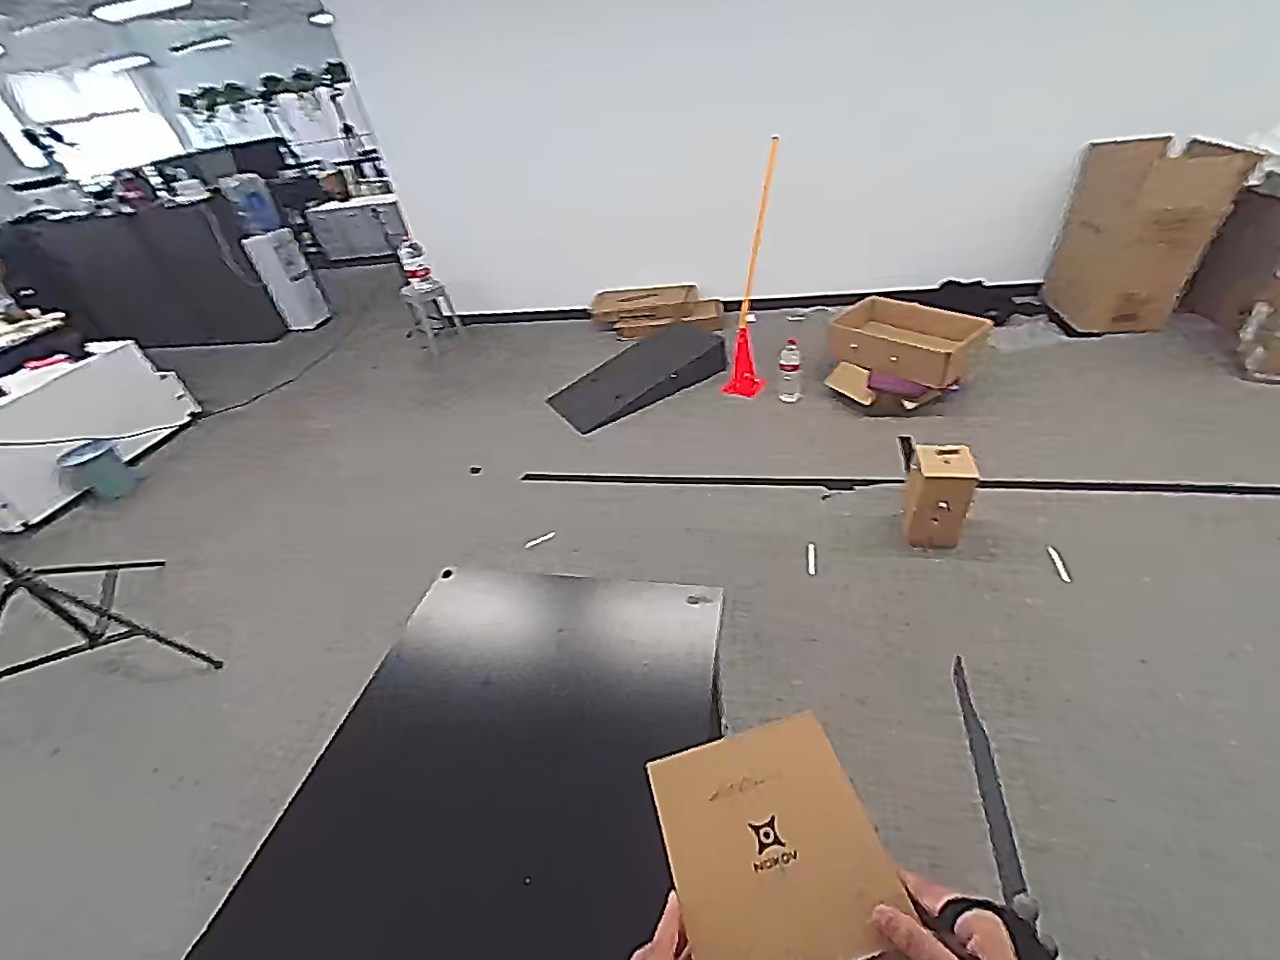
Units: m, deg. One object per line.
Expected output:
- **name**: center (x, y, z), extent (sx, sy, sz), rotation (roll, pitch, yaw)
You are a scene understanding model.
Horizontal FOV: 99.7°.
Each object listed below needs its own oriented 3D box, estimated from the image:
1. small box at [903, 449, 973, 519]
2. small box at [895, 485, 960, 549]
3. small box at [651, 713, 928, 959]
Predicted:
- **small box**: center (1.025, 0.013, 1.873), extent (0.168, 0.176, 0.179), rotation (2, 40, 14)
- **small box**: center (1.044, 0.137, 1.979), extent (0.179, 0.176, 0.168), rotation (3, 40, 14)
- **small box**: center (0.119, 0.350, 0.484), extent (0.168, 0.176, 0.179), rotation (-15, 39, -5)
